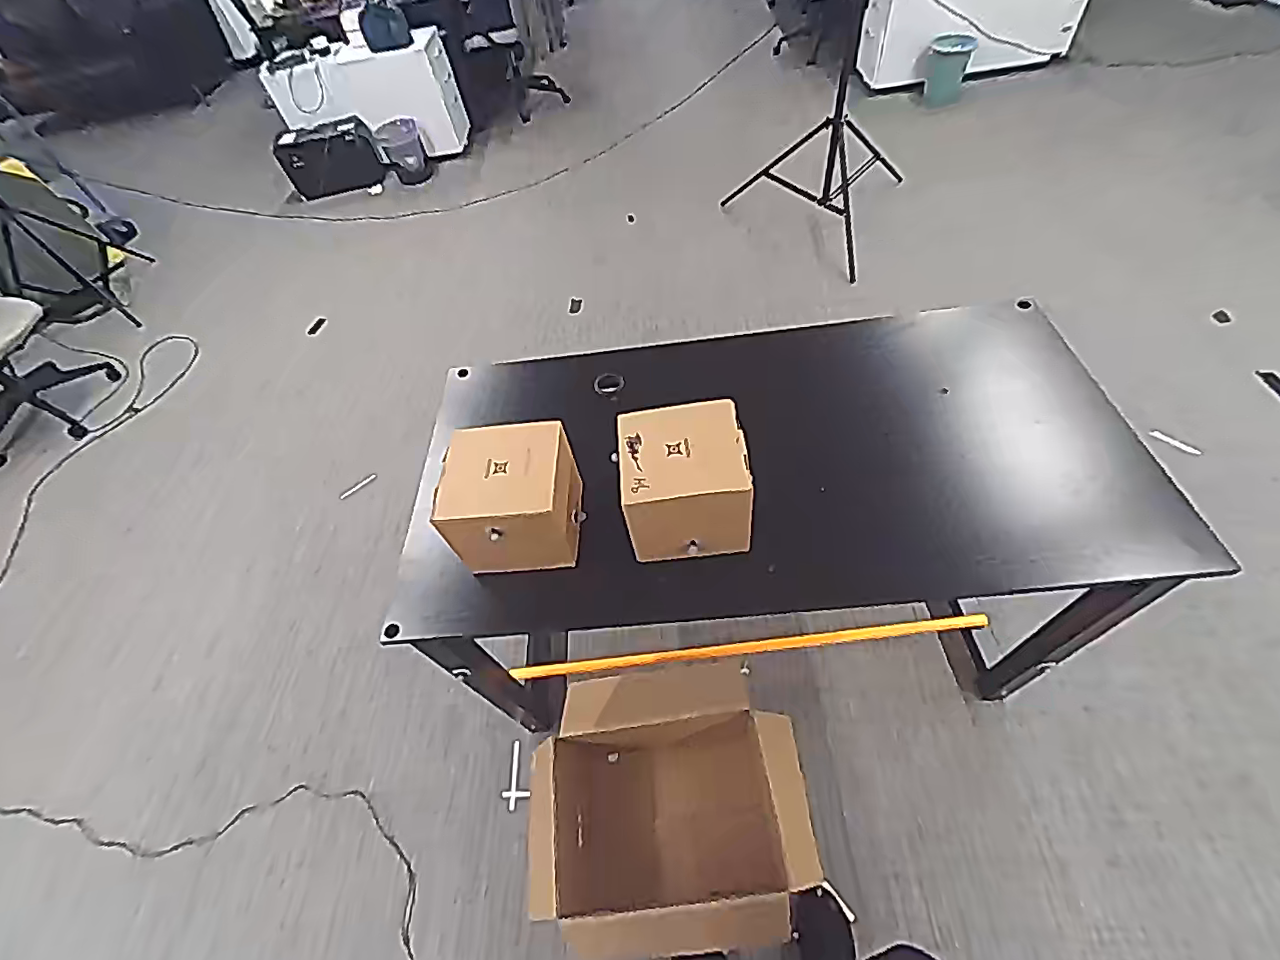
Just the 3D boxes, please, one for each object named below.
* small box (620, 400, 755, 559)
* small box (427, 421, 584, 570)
[{"bbox_3d":[0.067,0.004,0.815,0.179,0.176,0.168,-7,53,3],"label":"small box"},{"bbox_3d":[-0.194,0.030,0.836,0.179,0.176,0.168,-4,54,5],"label":"small box"}]
